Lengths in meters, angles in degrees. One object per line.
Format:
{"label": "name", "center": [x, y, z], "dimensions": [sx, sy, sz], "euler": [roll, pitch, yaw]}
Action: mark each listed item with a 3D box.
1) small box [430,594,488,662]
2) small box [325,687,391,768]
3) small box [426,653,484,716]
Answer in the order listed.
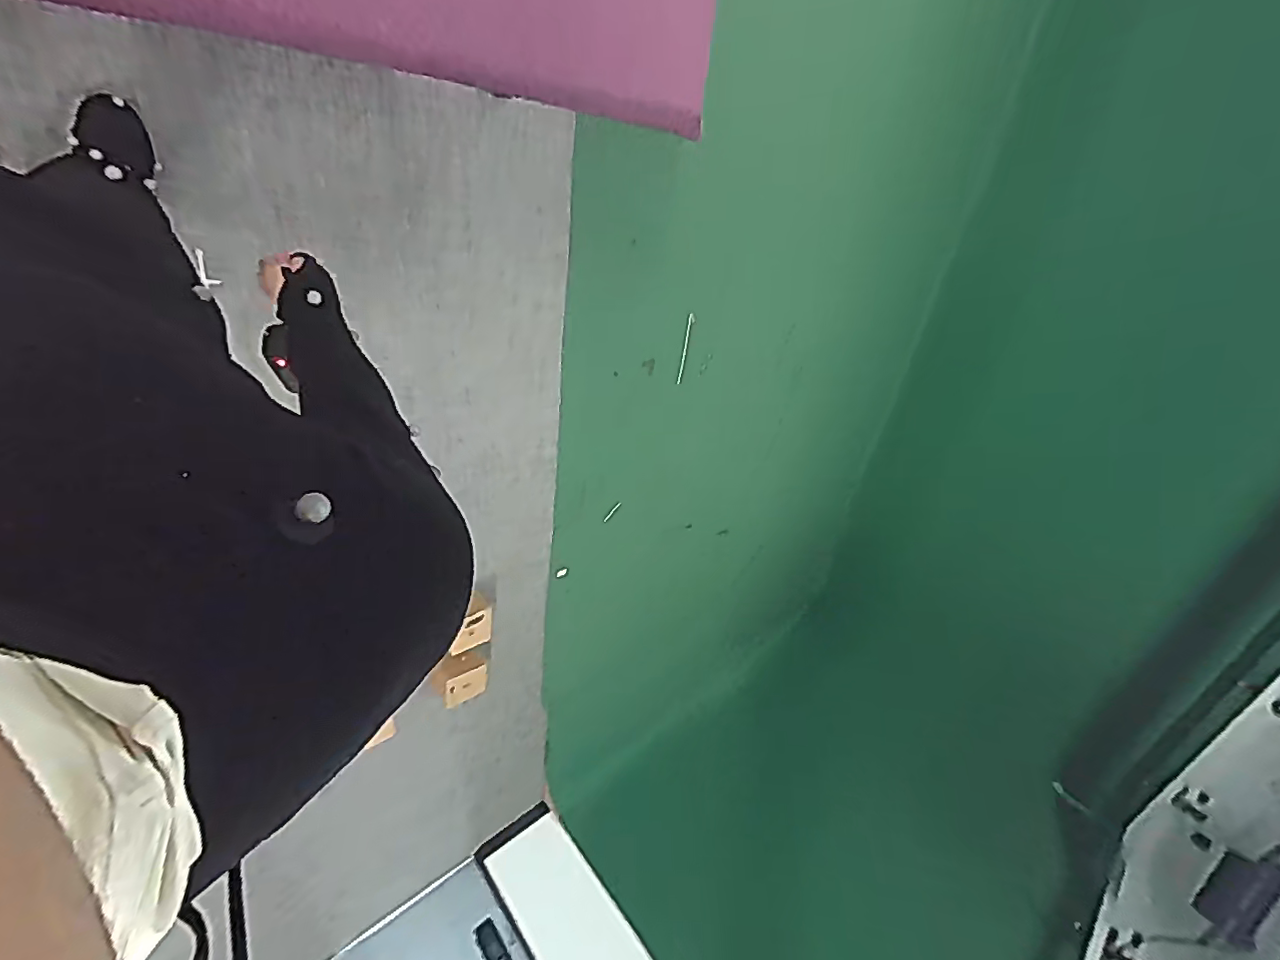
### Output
{"label": "small box", "center": [-0.712, 0.570, 2.120], "dimensions": [0.168, 0.176, 0.179], "euler": [-16, 127, -39]}
{"label": "small box", "center": [-1.048, 0.911, 2.002], "dimensions": [0.179, 0.176, 0.168], "euler": [-18, 129, -39]}
{"label": "small box", "center": [-0.769, 0.827, 2.241], "dimensions": [0.179, 0.176, 0.168], "euler": [-15, 126, -41]}
